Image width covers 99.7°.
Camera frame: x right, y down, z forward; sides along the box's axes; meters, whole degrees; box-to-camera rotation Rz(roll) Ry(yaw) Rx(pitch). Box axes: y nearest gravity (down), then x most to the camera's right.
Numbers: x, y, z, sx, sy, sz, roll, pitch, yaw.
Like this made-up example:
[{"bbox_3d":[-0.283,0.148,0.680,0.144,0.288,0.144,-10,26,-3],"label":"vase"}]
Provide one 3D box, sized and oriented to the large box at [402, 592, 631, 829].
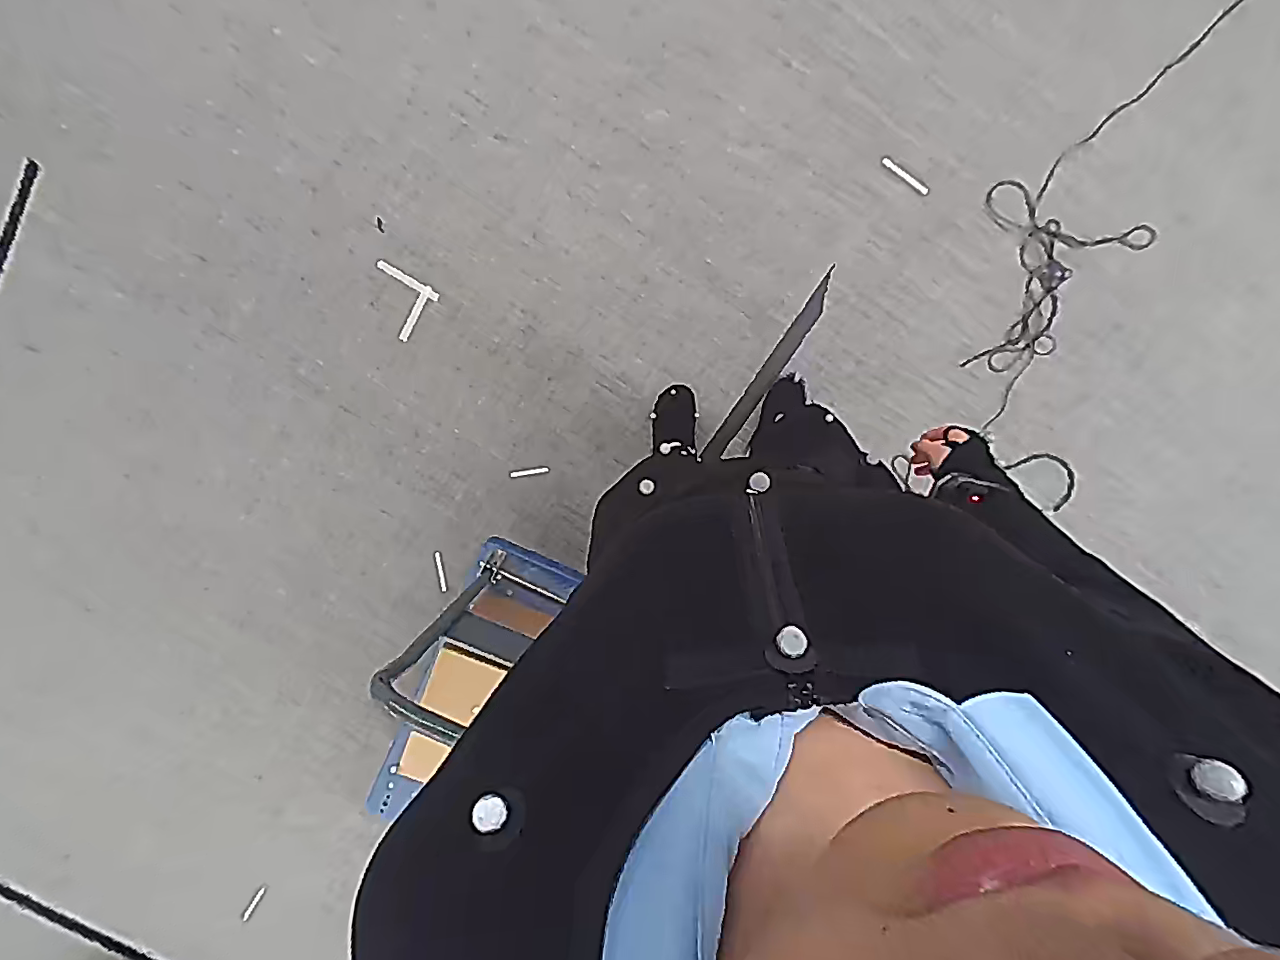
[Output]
[{"bbox_3d":[-0.261,0.517,1.272,0.408,0.320,0.320,22,99,-2],"label":"large box"}]
